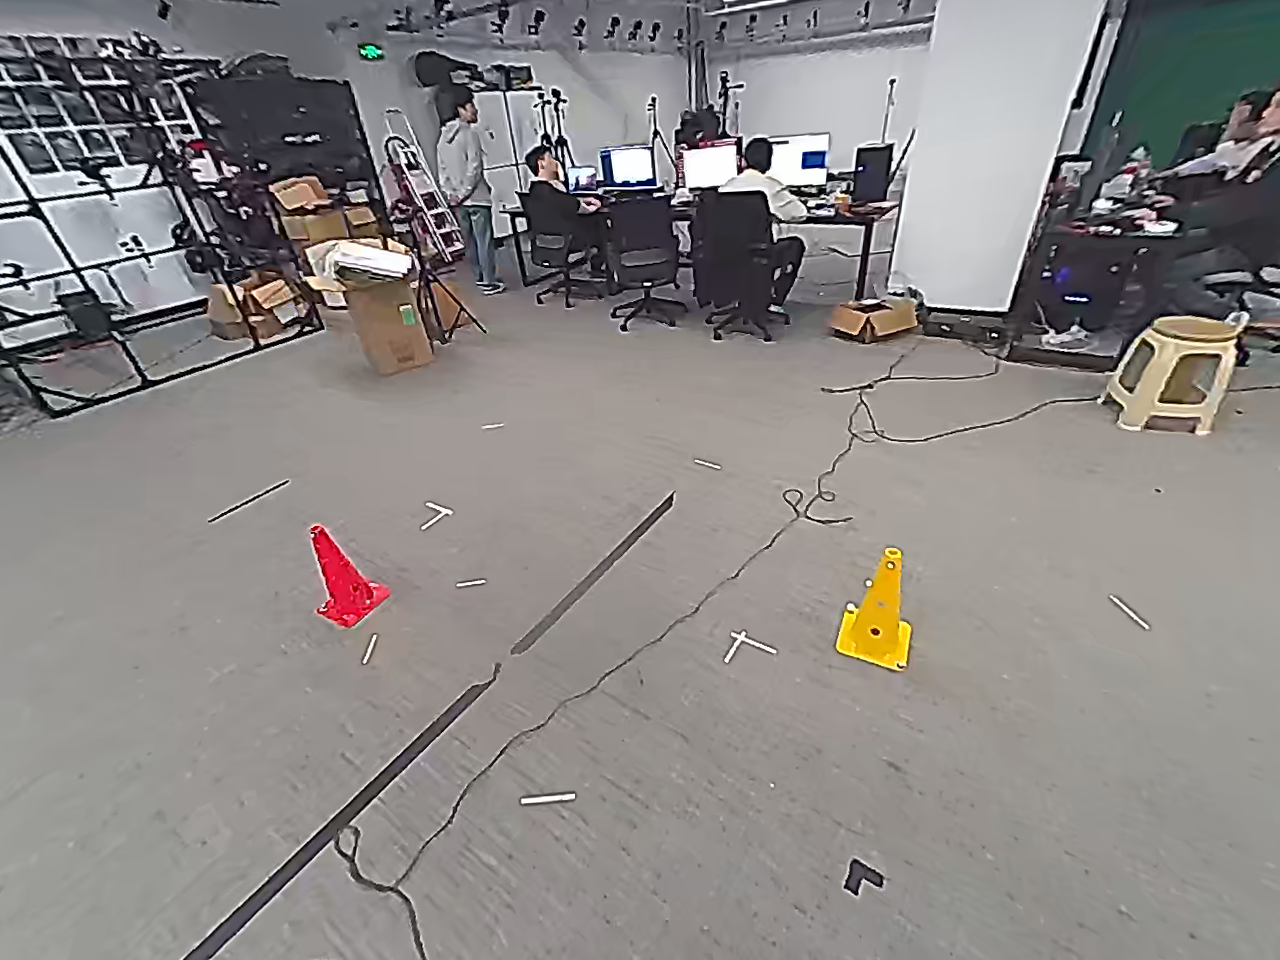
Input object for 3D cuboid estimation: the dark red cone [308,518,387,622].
[{"bbox_3d":[-1.087,0.300,1.923,0.201,0.394,0.202,13,38,24],"label":"dark red cone"}]
